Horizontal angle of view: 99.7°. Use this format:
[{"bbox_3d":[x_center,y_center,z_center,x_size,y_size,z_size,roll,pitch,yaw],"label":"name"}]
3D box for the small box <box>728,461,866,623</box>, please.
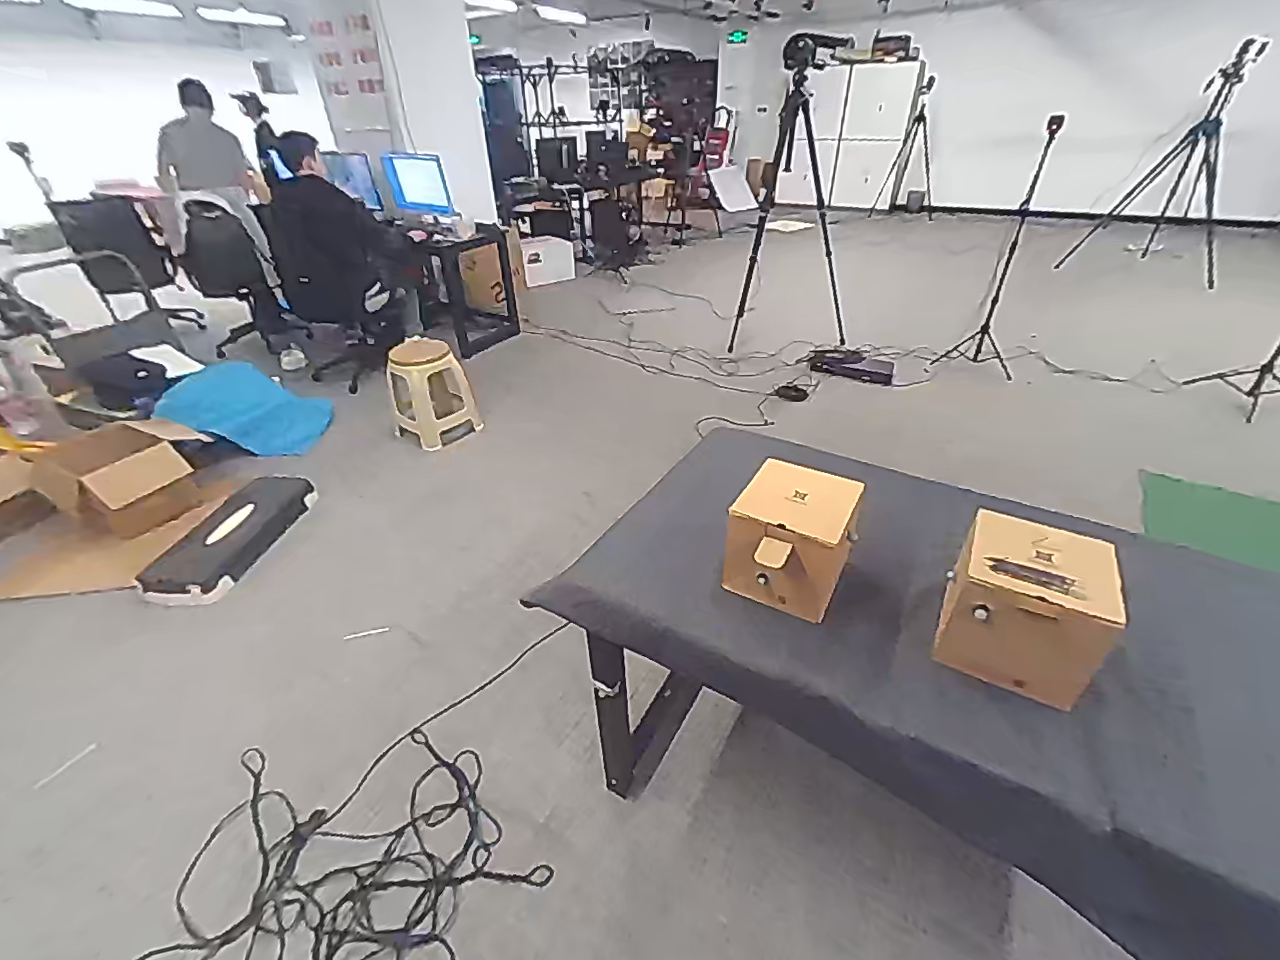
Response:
[{"bbox_3d":[0.253,0.098,0.893,0.168,0.176,0.179,18,39,26],"label":"small box"}]
